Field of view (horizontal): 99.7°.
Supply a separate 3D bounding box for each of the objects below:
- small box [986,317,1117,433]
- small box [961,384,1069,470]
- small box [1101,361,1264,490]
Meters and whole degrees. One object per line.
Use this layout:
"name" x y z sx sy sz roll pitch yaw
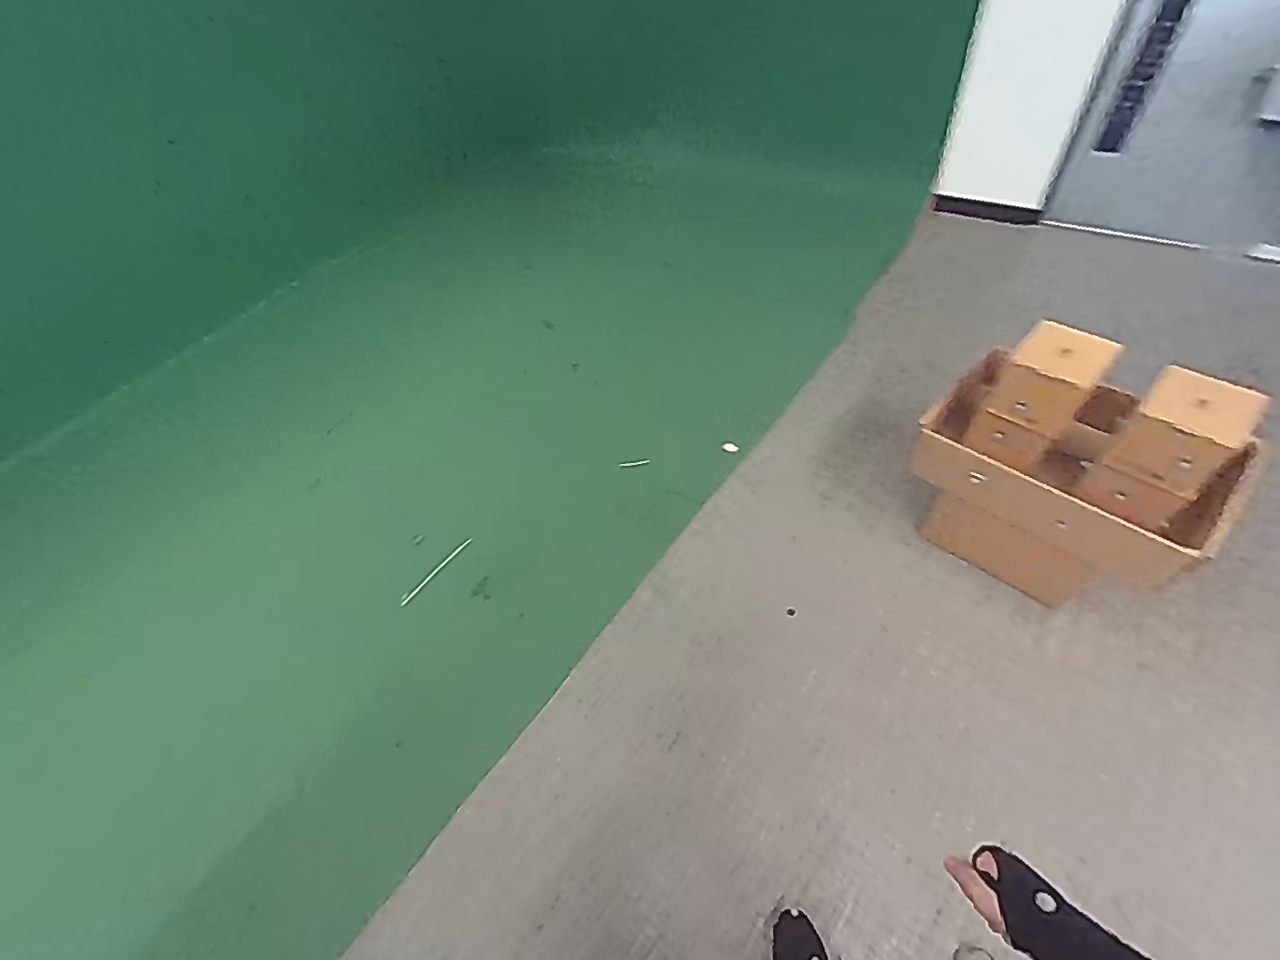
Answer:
"small box" 0.964 -0.247 1.283 0.179 0.176 0.168 -42 58 -19
"small box" 0.986 -0.157 1.419 0.168 0.176 0.179 -41 57 -19
"small box" 1.132 -0.111 1.144 0.179 0.176 0.168 -41 57 -20
